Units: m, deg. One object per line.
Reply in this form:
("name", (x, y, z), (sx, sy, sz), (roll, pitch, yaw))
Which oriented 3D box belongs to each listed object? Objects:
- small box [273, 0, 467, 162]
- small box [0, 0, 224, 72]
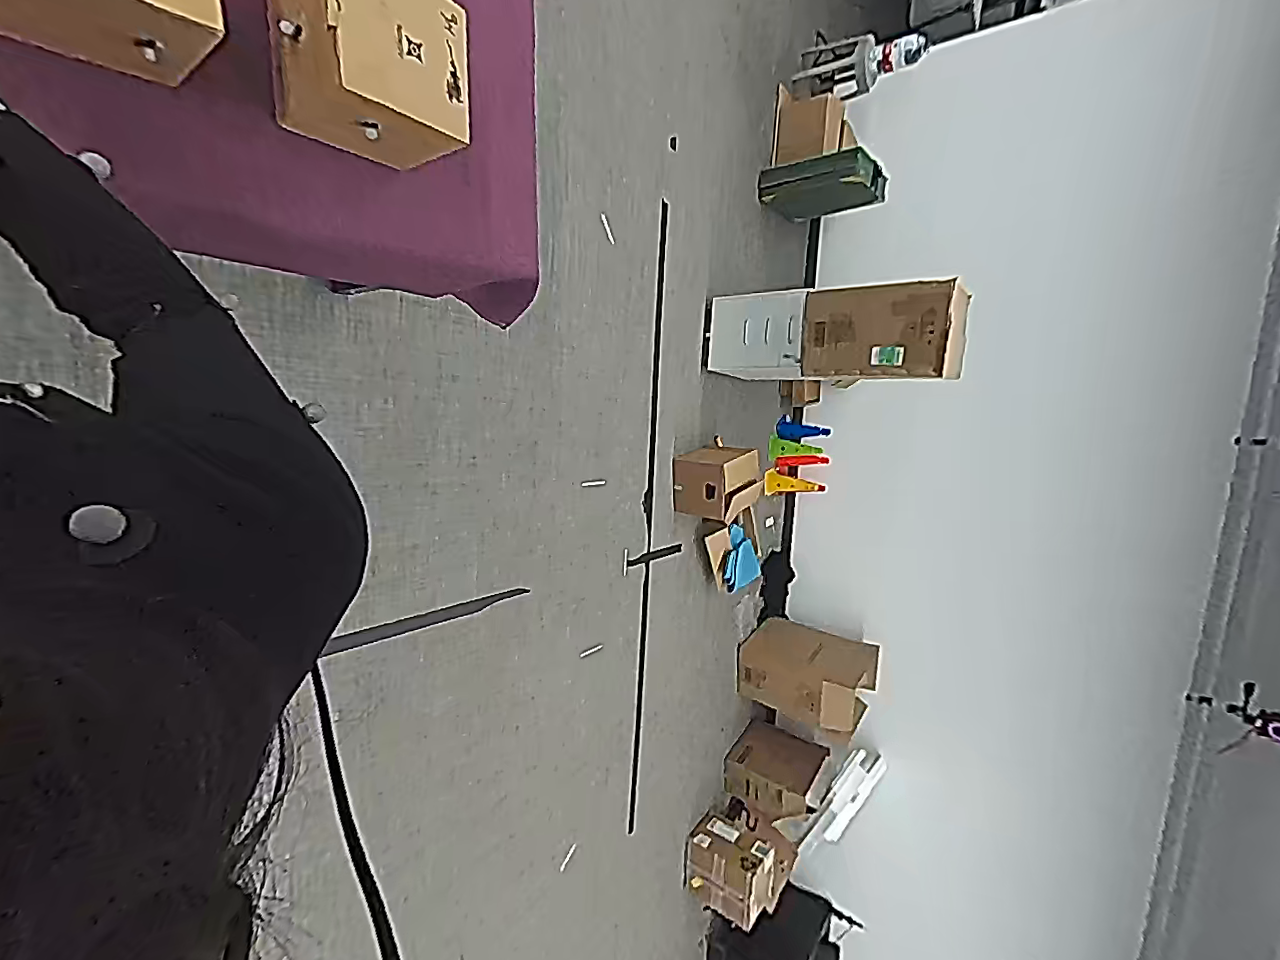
("small box", (-0.350, -0.541, 0.701), (0.179, 0.176, 0.168), (-11, 106, -53))
("small box", (-0.514, -0.501, 0.478), (0.179, 0.176, 0.168), (-18, 110, -51))
